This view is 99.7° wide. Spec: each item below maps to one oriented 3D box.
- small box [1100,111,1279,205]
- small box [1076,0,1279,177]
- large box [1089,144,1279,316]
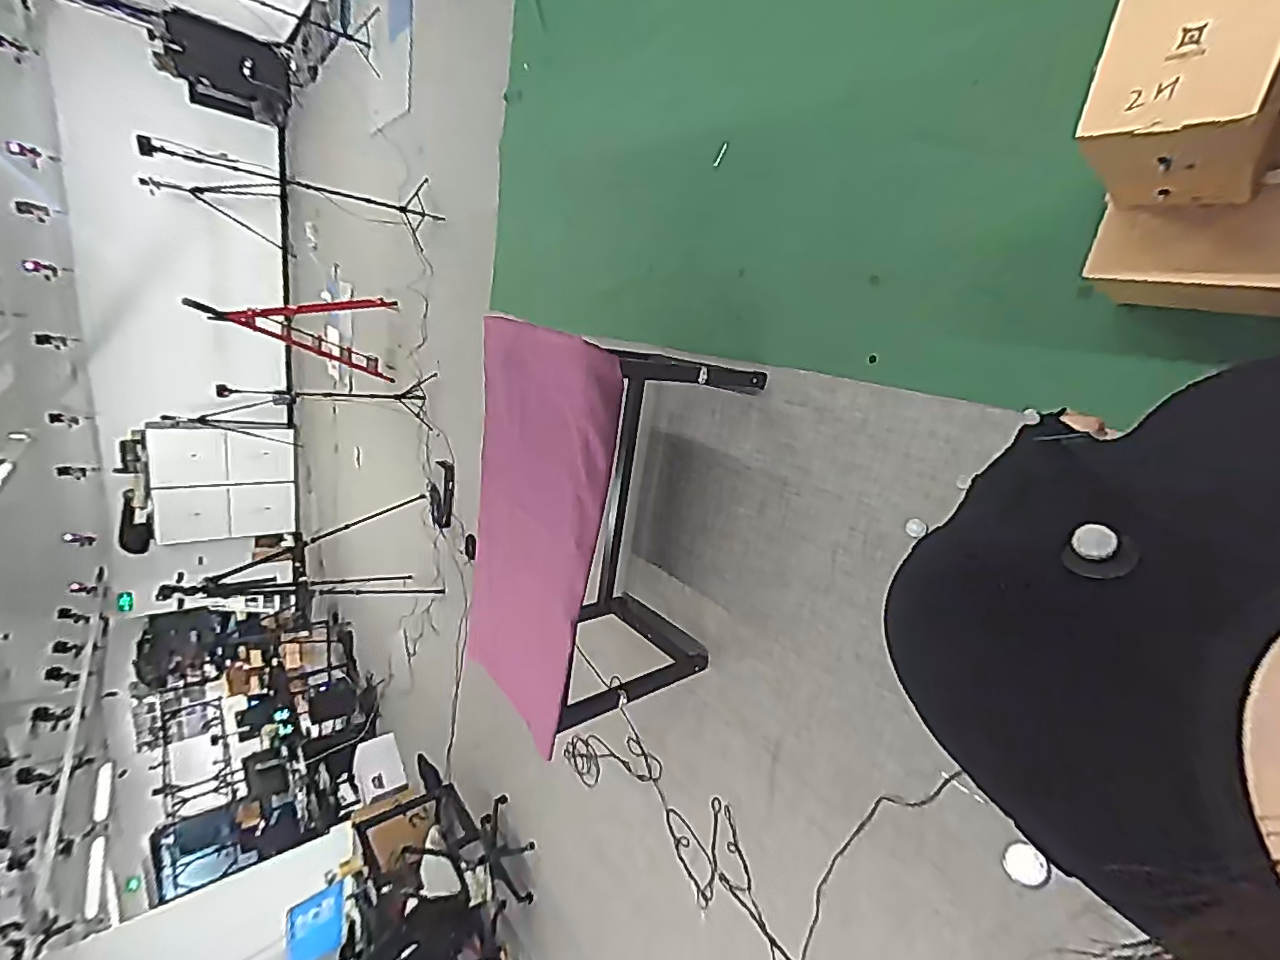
[{"bbox_3d":[0.809,-0.515,0.777,0.168,0.176,0.179,27,114,44],"label":"small box"},{"bbox_3d":[0.685,-0.501,0.669,0.168,0.176,0.179,26,113,45],"label":"small box"},{"bbox_3d":[1.051,-0.448,0.874,0.408,0.320,0.320,27,114,44],"label":"large box"}]
